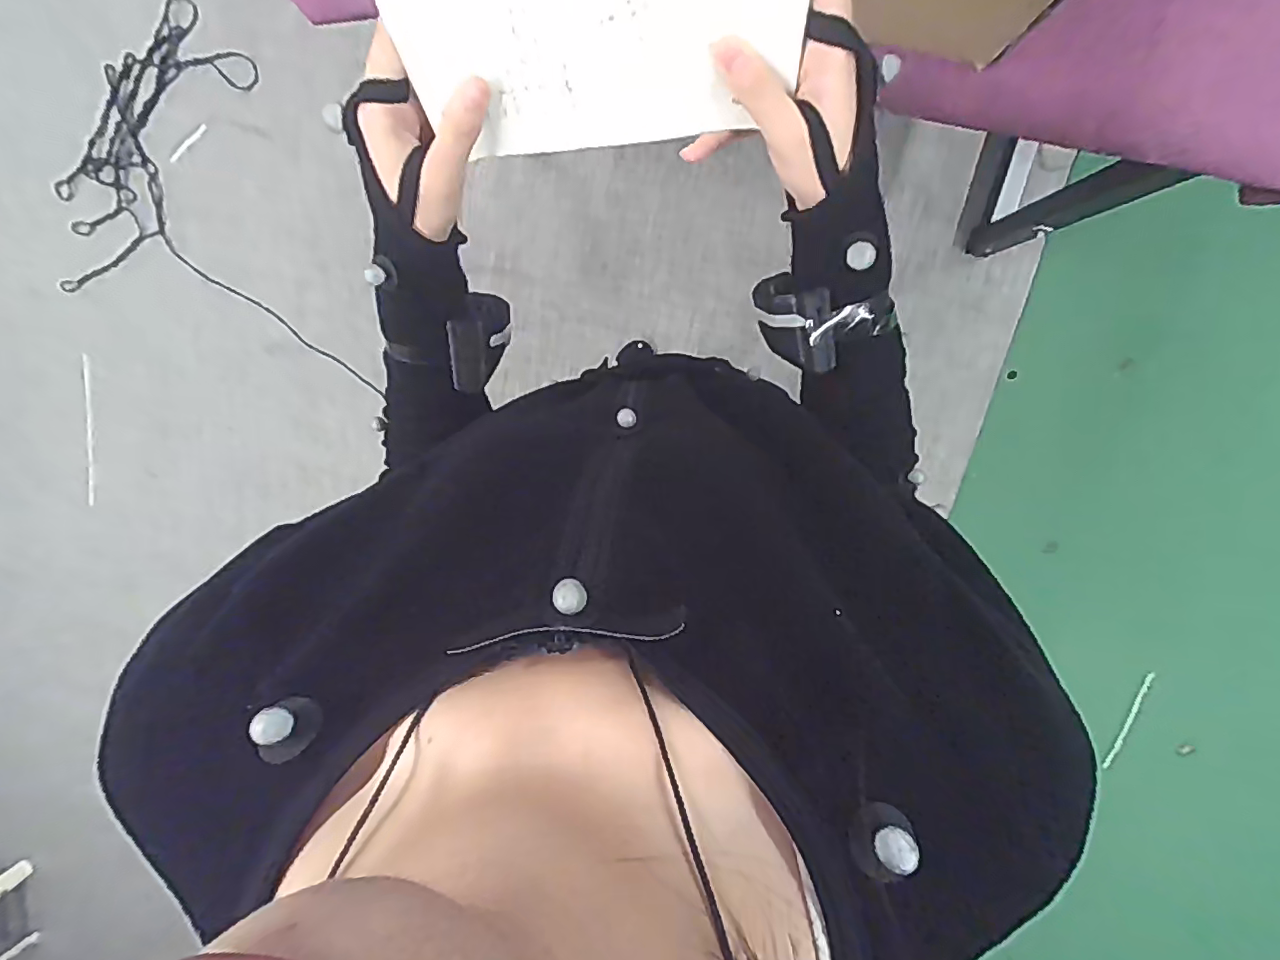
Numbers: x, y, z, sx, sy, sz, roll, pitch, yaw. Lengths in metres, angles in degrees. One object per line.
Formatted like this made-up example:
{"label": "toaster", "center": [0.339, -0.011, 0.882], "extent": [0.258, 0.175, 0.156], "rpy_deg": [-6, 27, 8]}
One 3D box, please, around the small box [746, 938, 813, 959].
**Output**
{"label": "small box", "center": [0.351, 1.293, 1.340], "extent": [0.168, 0.176, 0.179], "rpy_deg": [5, 101, 5]}

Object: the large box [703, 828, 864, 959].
{"label": "large box", "center": [0.398, 1.275, 1.586], "extent": [0.408, 0.320, 0.320], "rpy_deg": [-1, 102, 4]}
